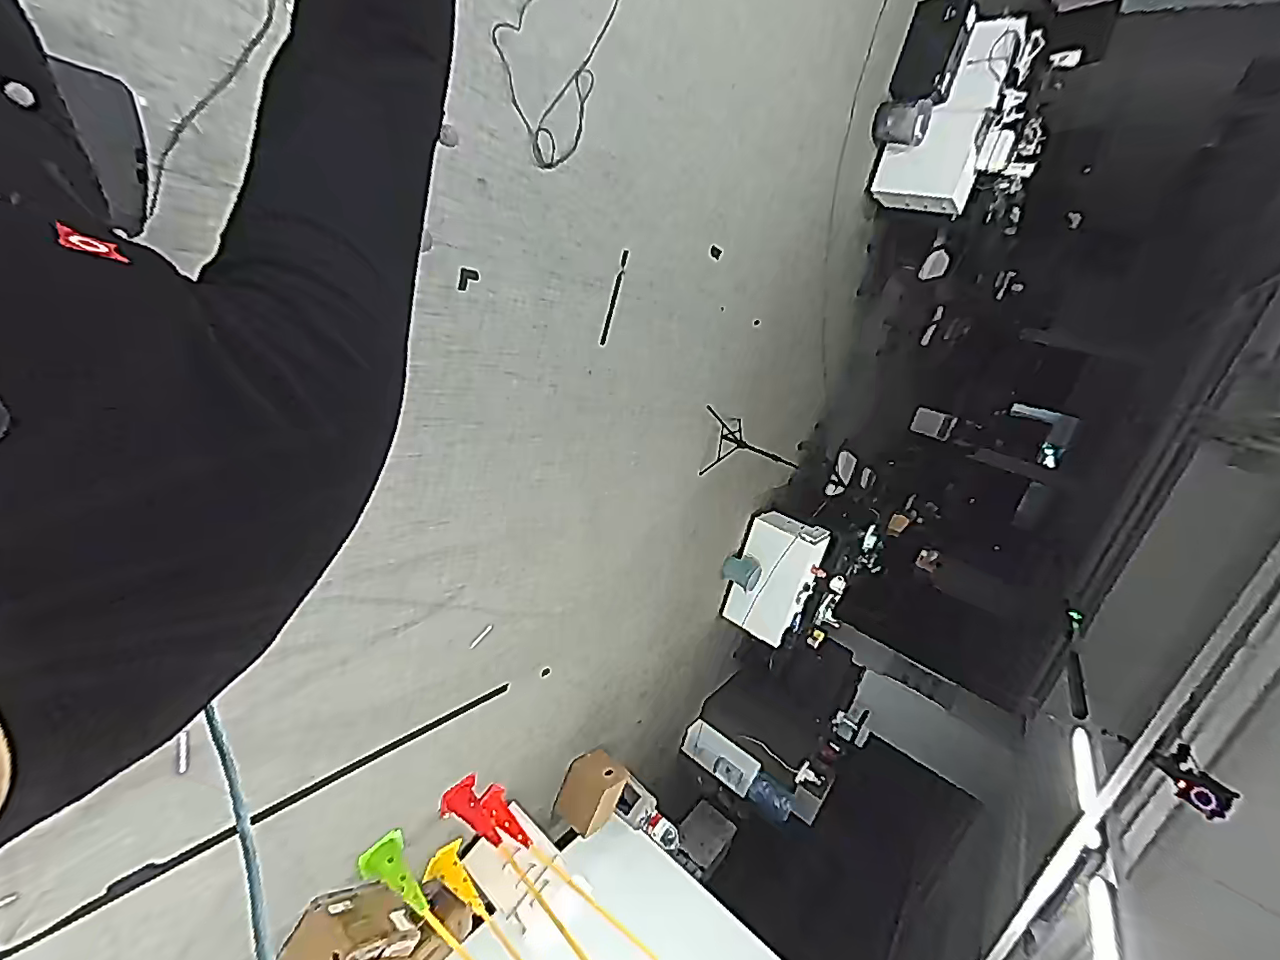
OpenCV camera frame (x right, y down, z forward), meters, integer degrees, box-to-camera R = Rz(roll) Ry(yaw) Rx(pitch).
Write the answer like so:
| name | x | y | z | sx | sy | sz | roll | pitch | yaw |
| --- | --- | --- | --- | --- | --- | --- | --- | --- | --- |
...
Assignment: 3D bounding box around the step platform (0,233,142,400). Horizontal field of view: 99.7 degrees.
| name | x | y | z | sx | sy | sz | roll | pitch | yaw |
| --- | --- | --- | --- | --- | --- | --- | --- | --- | --- |
| step platform | -1.239 | -0.277 | 0.840 | 0.684 | 0.204 | 0.286 | -12 | 122 | -51 |
